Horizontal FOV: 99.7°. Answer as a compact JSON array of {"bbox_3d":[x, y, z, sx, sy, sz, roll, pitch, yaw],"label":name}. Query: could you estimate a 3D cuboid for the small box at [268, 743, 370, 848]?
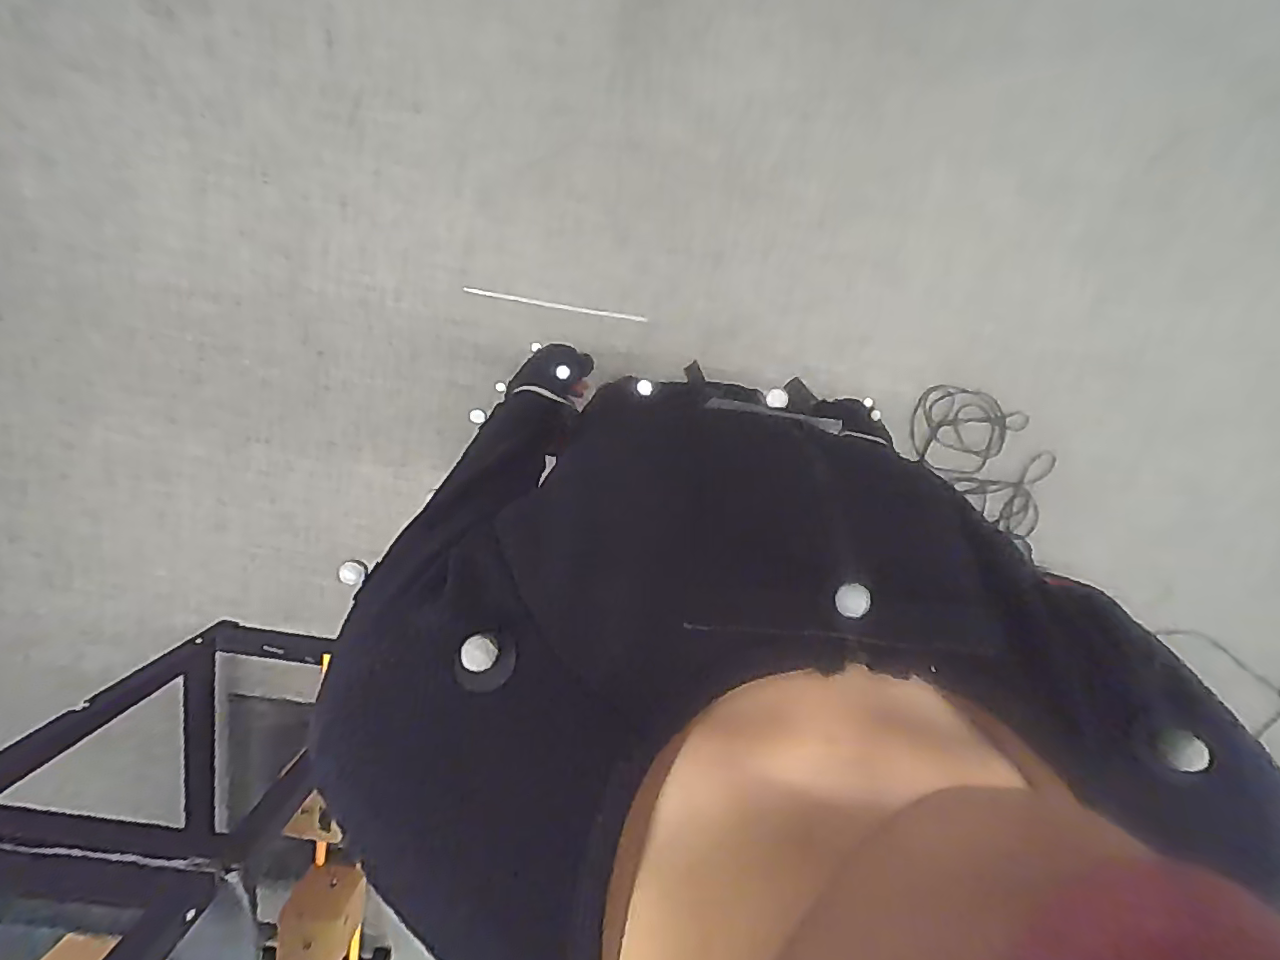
[{"bbox_3d":[-0.857,0.844,1.460,0.179,0.176,0.168,12,101,-3],"label":"small box"}]
